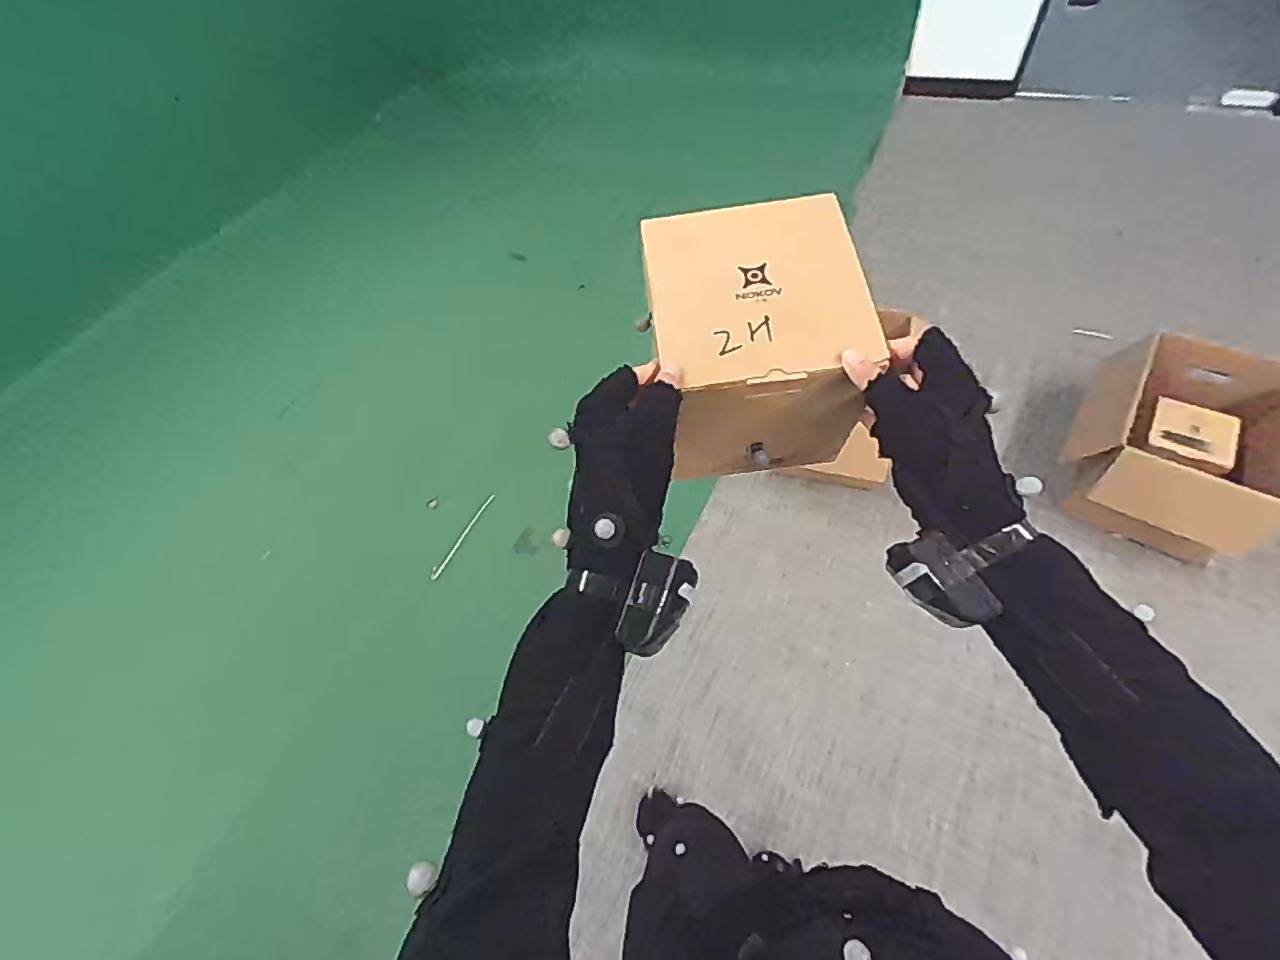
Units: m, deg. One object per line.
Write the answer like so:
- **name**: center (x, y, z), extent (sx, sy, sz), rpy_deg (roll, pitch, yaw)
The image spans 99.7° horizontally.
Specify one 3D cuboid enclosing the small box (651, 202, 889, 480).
- **small box**: center (0.101, -0.118, 0.501), extent (0.168, 0.176, 0.179), rpy_deg (-6, 66, 4)
